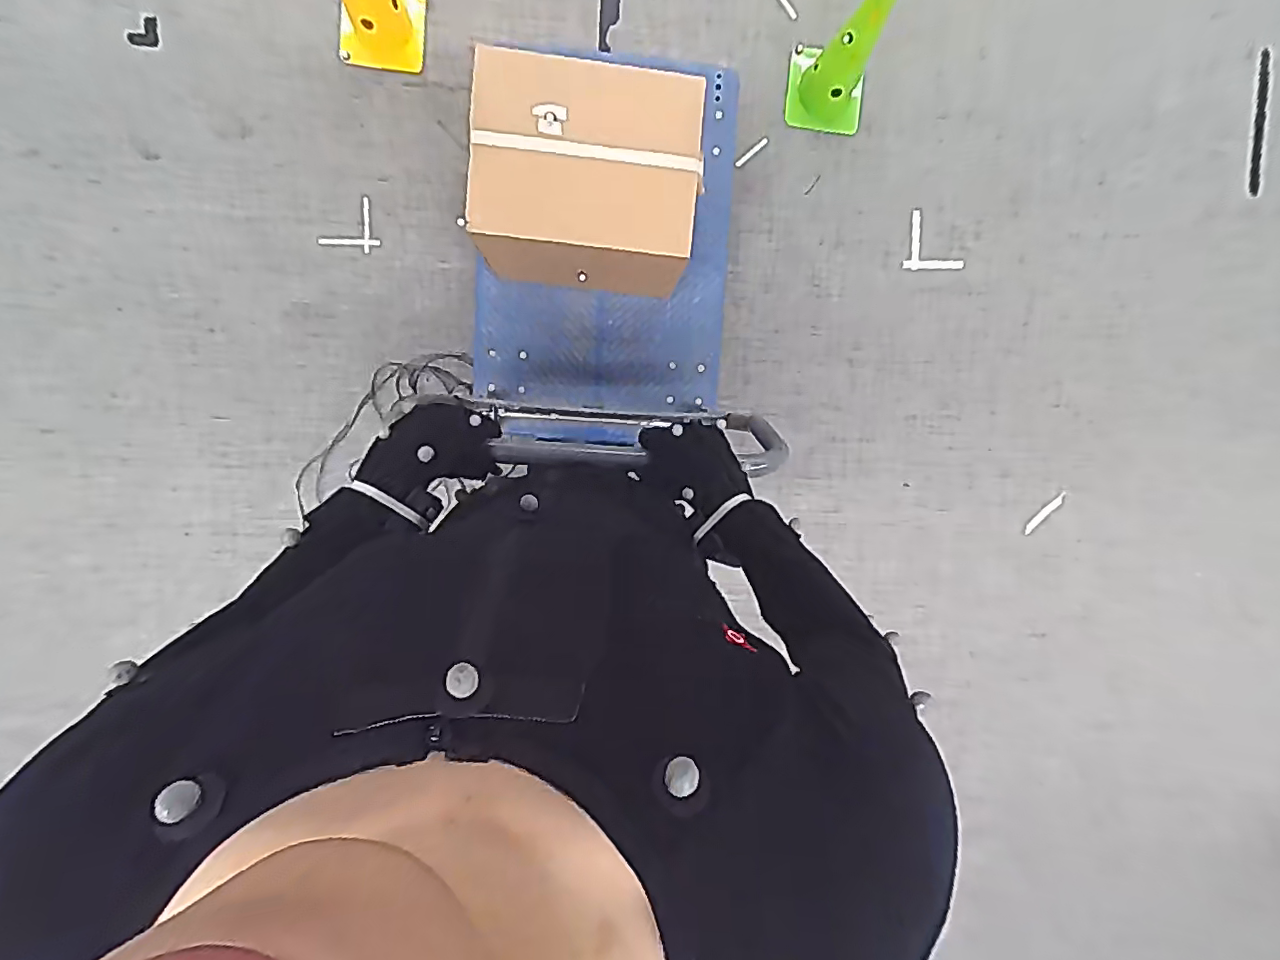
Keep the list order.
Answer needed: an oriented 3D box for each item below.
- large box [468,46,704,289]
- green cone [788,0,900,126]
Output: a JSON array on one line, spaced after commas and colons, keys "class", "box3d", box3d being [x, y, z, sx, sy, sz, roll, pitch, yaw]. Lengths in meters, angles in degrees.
[{"class": "large box", "box3d": [-0.102, -0.594, 1.099, 0.408, 0.320, 0.320, 5, 95, -4]}, {"class": "green cone", "box3d": [0.506, -1.028, 1.249, 0.202, 0.368, 0.200, 5, 95, -6]}]
